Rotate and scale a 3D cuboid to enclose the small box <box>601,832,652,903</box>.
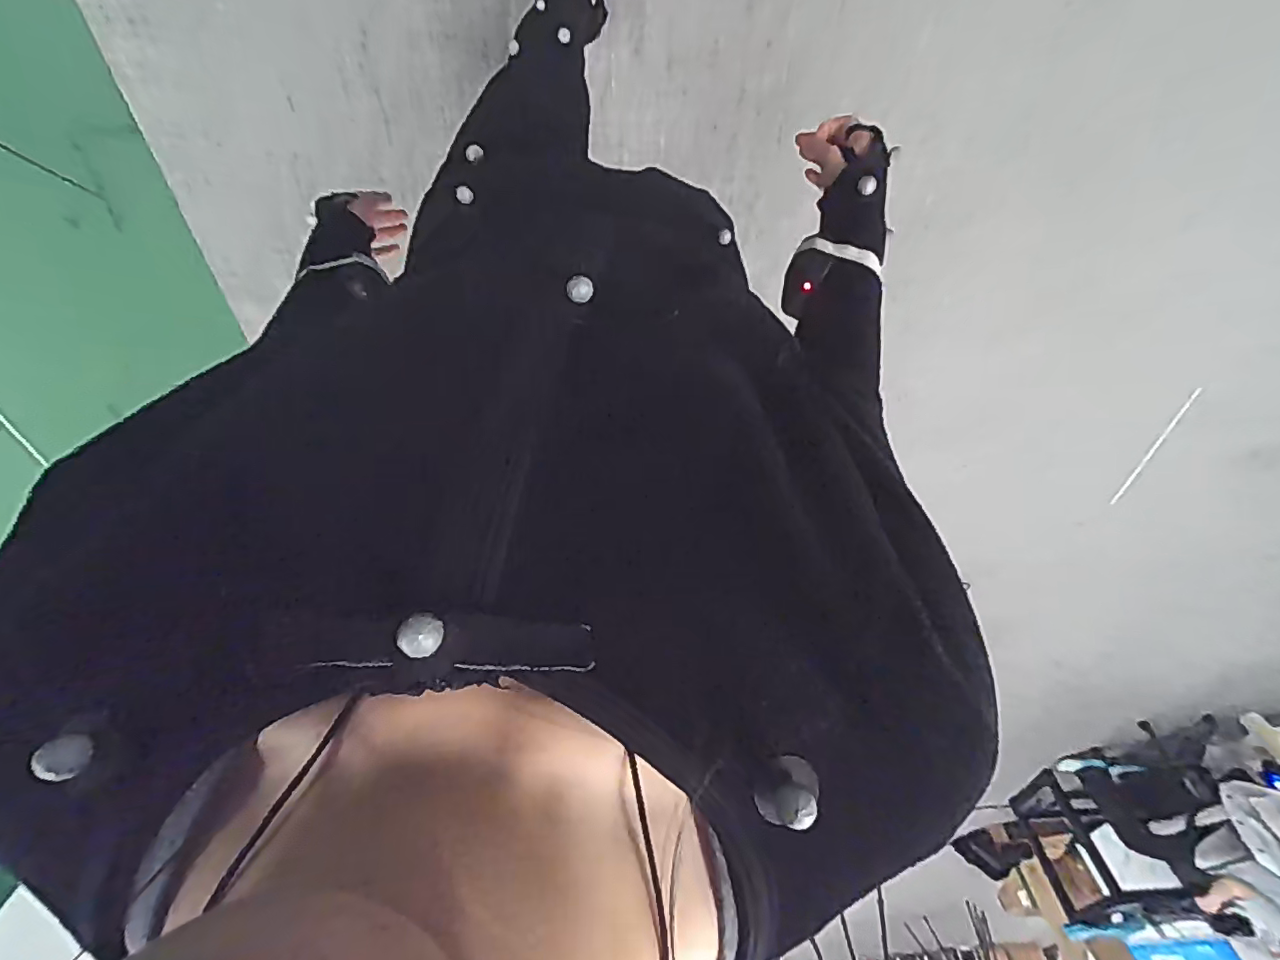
[{"bbox_3d":[-0.053,1.342,1.881,0.168,0.176,0.179,0,131,-4],"label":"small box"}]

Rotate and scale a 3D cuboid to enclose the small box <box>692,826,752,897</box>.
[{"bbox_3d":[0.282,1.338,1.900,0.179,0.176,0.168,-1,132,-3],"label":"small box"}]
